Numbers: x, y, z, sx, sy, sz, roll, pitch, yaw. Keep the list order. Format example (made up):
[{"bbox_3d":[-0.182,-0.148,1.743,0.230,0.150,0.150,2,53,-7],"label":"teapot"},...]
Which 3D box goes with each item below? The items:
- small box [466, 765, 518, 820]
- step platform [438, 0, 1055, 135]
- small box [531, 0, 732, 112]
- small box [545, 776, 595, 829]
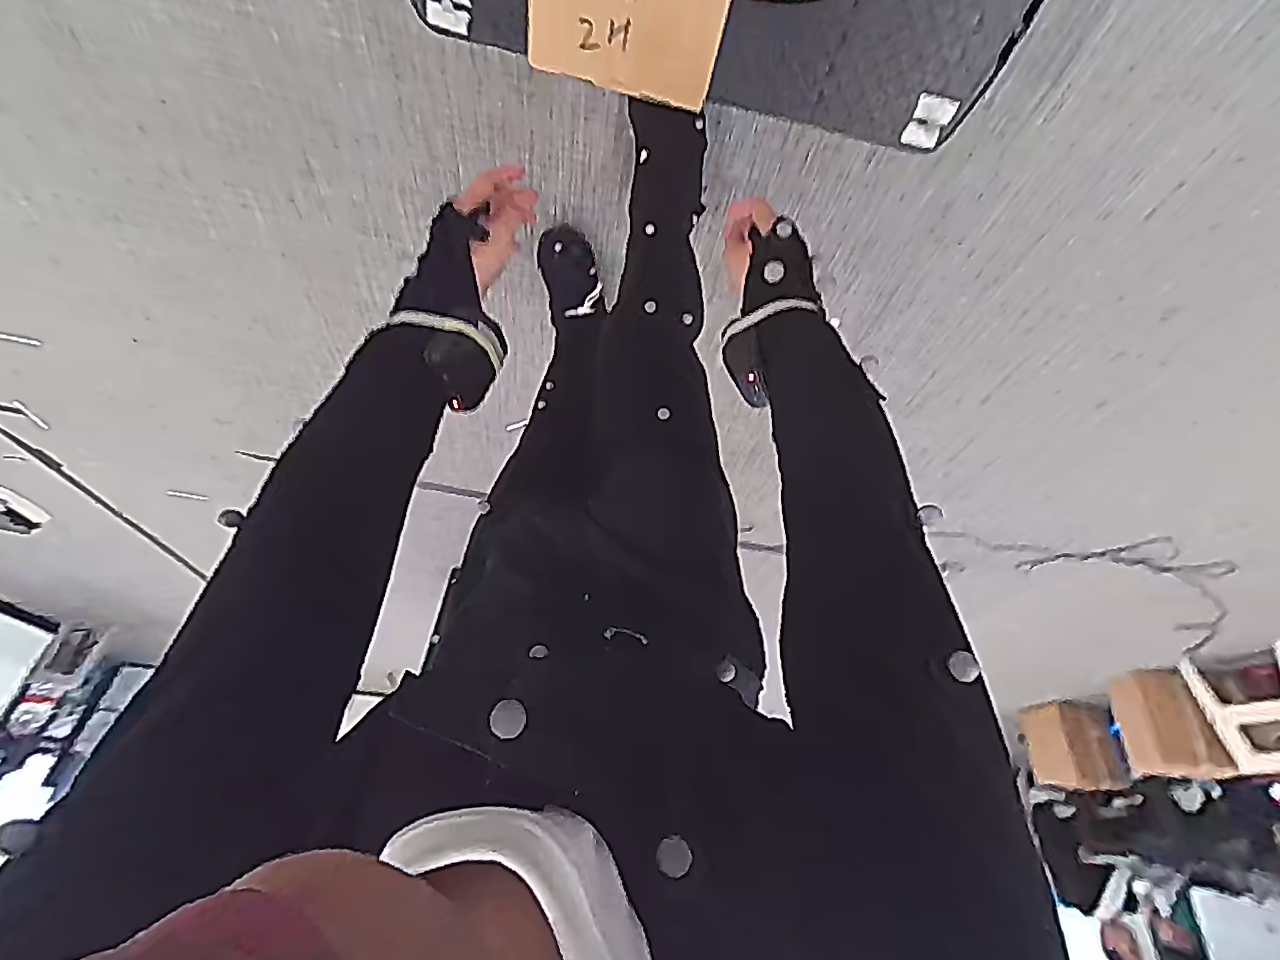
[{"bbox_3d":[-0.594,1.263,2.182,0.168,0.176,0.179,11,145,-7],"label":"small box"},{"bbox_3d":[0.107,-0.614,0.570,0.684,0.204,0.286,11,145,-5],"label":"step platform"},{"bbox_3d":[0.005,-0.478,0.480,0.168,0.176,0.179,12,146,-6],"label":"small box"},{"bbox_3d":[-0.286,1.317,2.210,0.179,0.176,0.168,11,146,-5],"label":"small box"}]
